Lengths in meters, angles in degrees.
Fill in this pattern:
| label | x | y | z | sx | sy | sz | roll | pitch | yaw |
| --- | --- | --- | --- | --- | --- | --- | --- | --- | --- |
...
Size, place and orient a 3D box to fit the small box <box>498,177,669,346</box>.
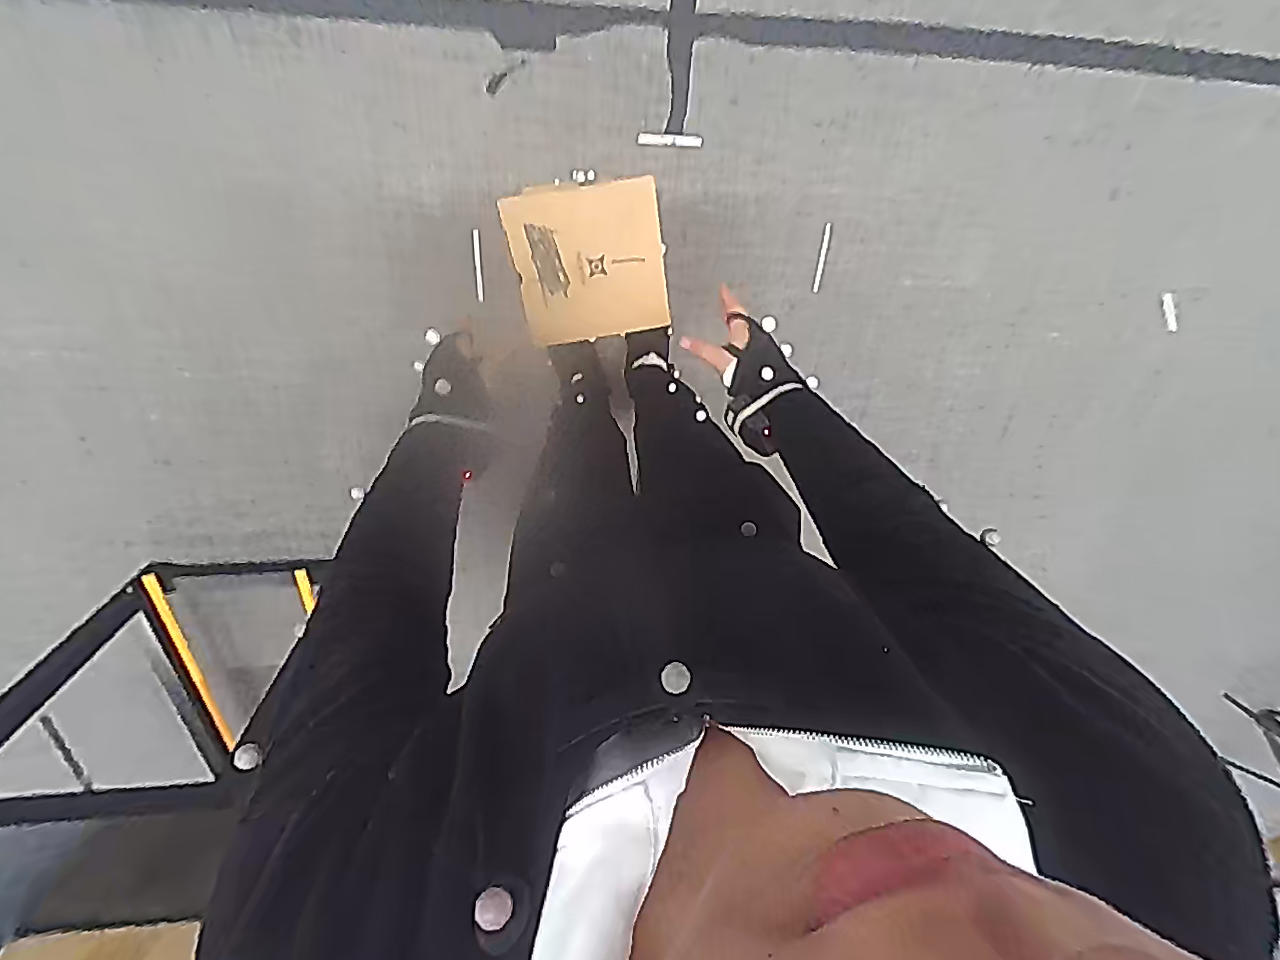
| label | x | y | z | sx | sy | sz | roll | pitch | yaw |
| --- | --- | --- | --- | --- | --- | --- | --- | --- | --- |
| small box | -0.066 | -0.283 | 0.696 | 0.179 | 0.176 | 0.168 | -10 | 119 | -1 |
